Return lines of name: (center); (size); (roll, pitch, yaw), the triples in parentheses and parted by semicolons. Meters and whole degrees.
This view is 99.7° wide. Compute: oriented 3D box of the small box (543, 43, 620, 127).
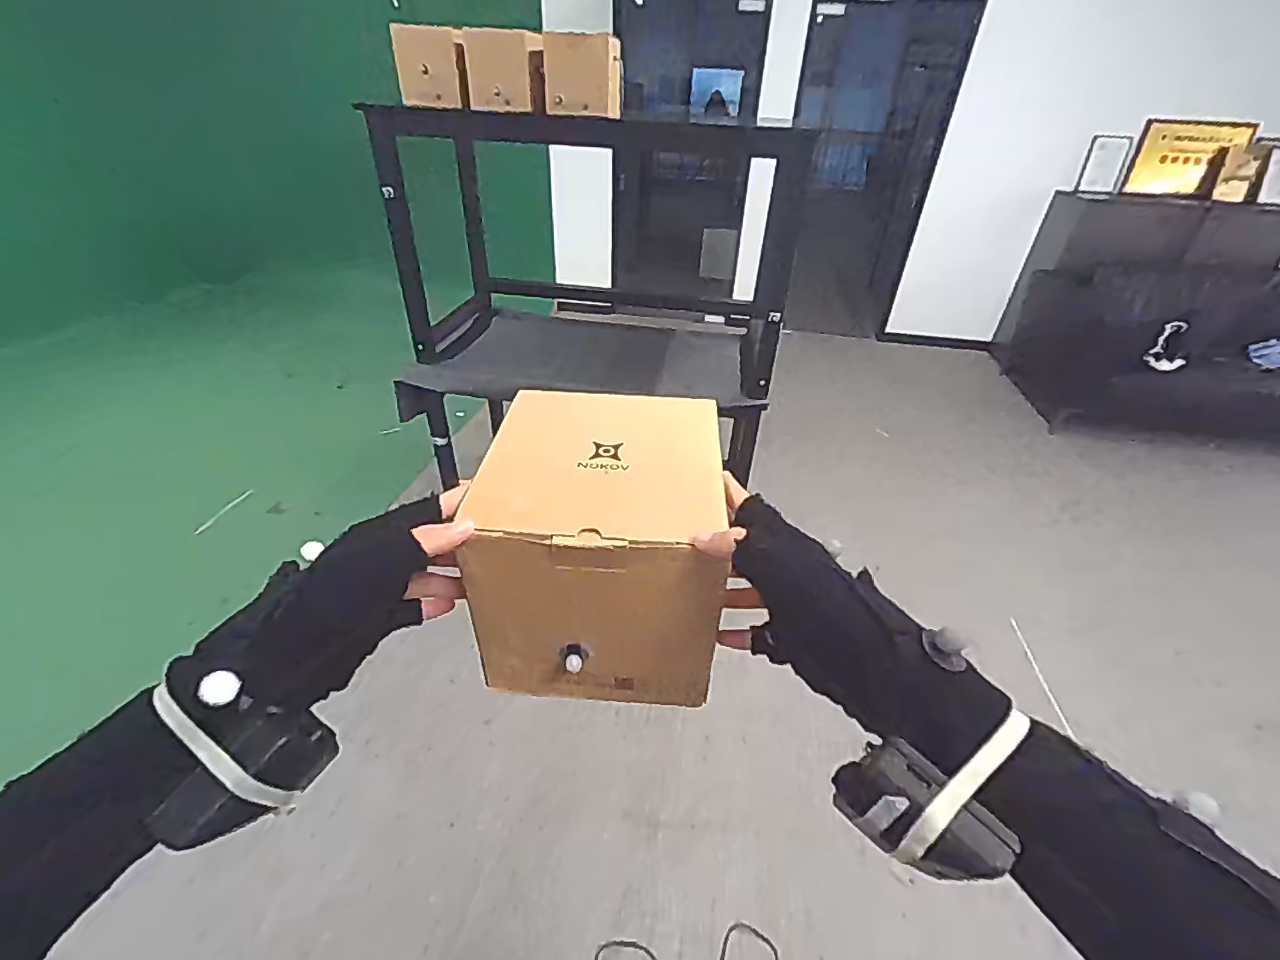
small box: (-0.147, -1.028, 1.416); (0.168, 0.176, 0.179); (6, 34, 4)

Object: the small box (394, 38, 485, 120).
small box: (-0.536, -1.089, 1.474); (0.168, 0.176, 0.179); (8, 35, 5)
